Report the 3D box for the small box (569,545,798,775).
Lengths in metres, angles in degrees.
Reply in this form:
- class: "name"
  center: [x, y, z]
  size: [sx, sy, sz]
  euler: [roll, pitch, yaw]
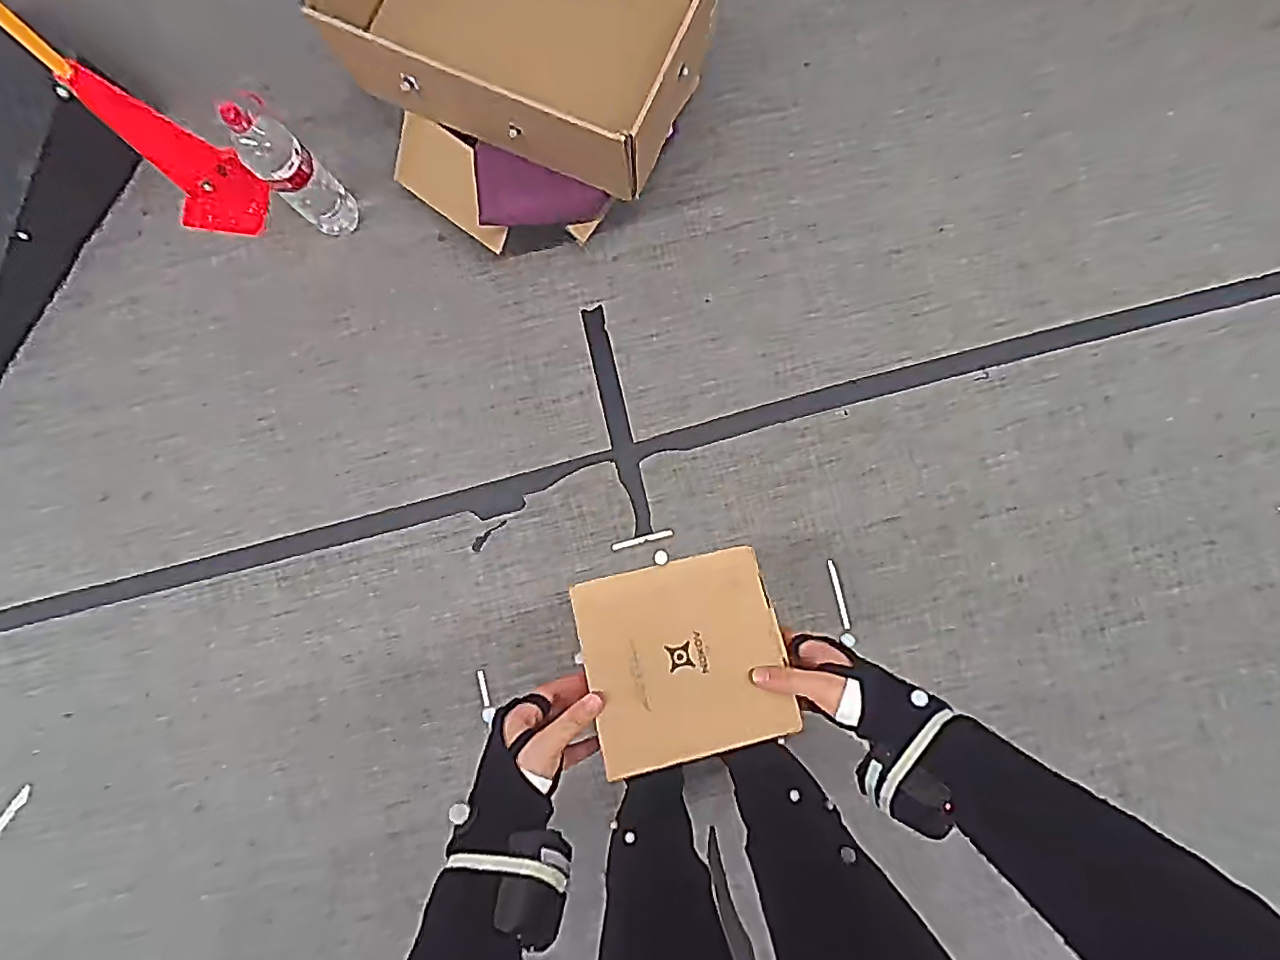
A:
- class: "small box"
  center: [0.034, 0.175, 0.558]
  size: [0.179, 0.176, 0.168]
  euler: [-14, 75, -5]
